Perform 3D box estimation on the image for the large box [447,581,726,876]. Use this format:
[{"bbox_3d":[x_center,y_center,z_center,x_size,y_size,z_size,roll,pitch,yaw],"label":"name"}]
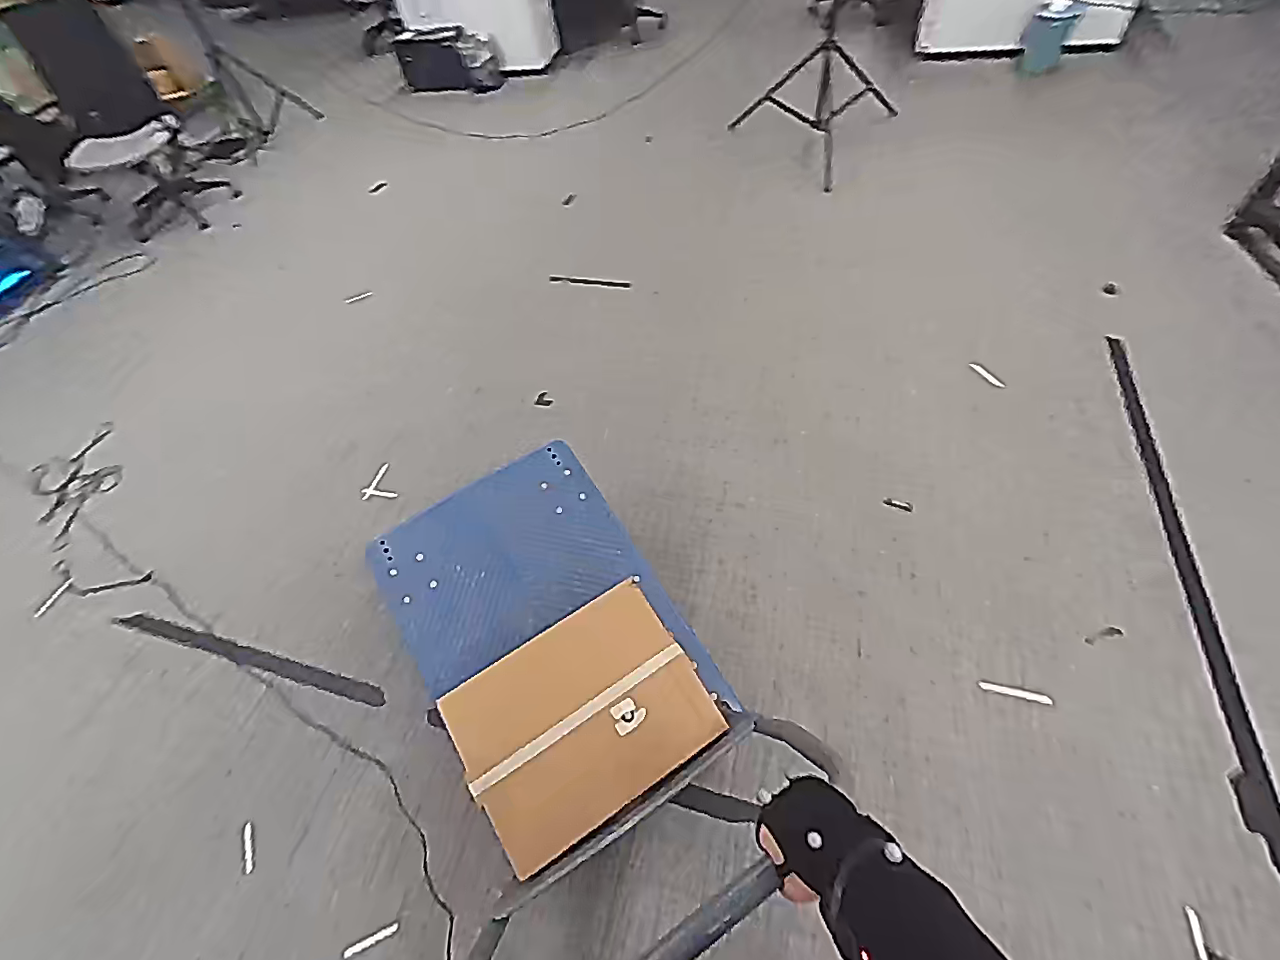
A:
[{"bbox_3d":[-0.097,0.472,1.077,0.408,0.320,0.320,-31,70,-14],"label":"large box"}]
